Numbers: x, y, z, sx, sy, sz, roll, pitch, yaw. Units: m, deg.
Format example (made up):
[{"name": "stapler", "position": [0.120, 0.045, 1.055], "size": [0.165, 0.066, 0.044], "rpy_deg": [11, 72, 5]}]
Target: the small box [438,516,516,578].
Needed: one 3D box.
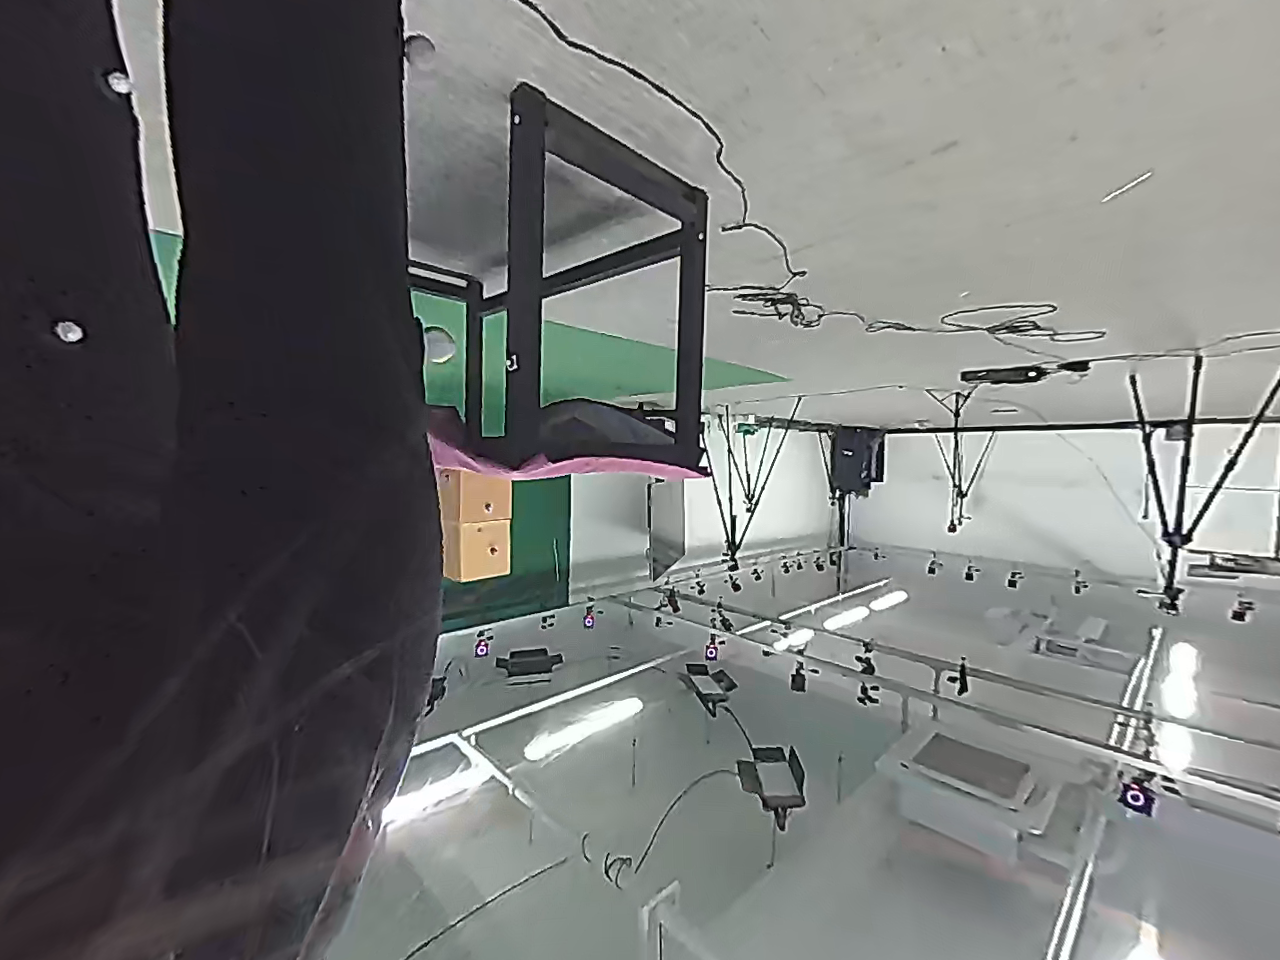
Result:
[{"name": "small box", "position": [-0.494, 0.185, 1.624], "size": [0.179, 0.176, 0.168], "rpy_deg": [3, -176, 41]}]

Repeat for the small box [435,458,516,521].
[{"name": "small box", "position": [-0.489, 0.023, 1.610], "size": [0.168, 0.176, 0.179], "rpy_deg": [2, -177, 40]}]
